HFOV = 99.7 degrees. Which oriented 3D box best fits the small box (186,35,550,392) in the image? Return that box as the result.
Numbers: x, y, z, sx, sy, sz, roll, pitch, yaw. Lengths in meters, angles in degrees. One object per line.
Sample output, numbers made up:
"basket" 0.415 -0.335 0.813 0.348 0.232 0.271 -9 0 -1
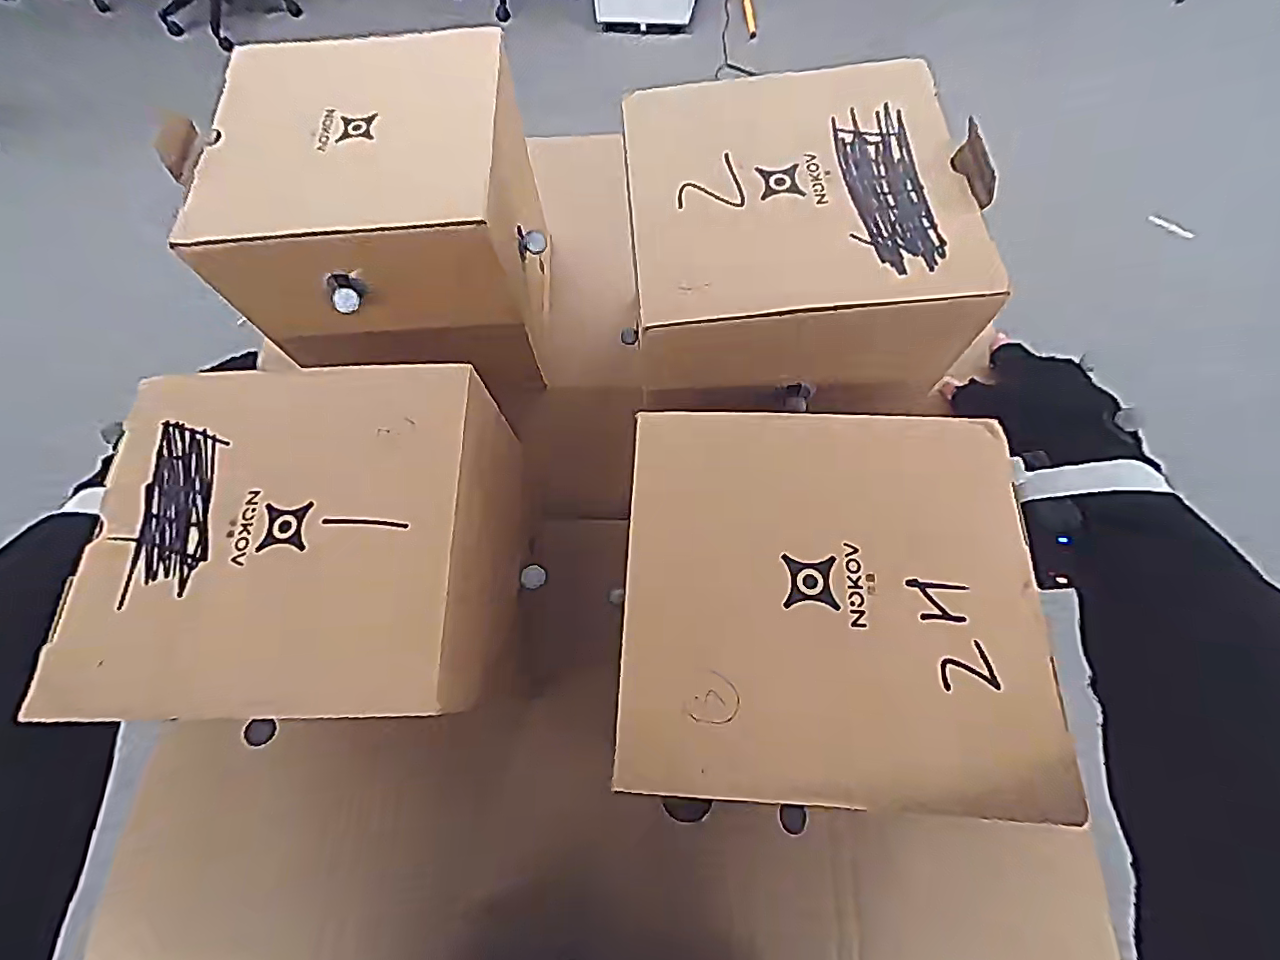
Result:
"small box" -0.167 -0.180 0.402 0.179 0.176 0.168 -4 68 3
